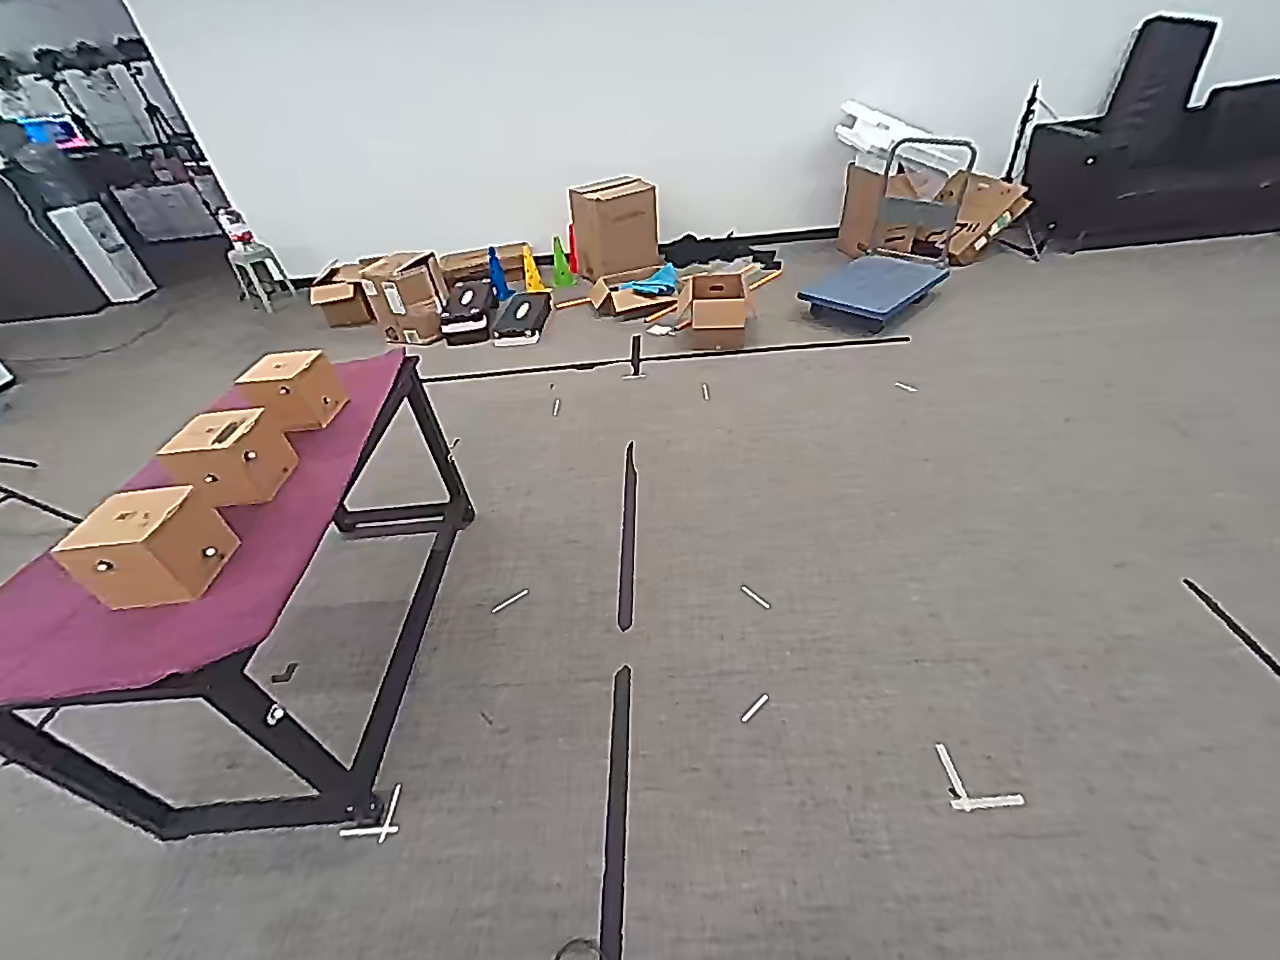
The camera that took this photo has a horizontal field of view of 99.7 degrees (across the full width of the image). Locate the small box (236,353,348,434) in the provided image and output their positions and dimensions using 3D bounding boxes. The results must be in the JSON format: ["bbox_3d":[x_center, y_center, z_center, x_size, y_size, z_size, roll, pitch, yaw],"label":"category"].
[{"bbox_3d":[-0.980,-0.243,1.540,0.179,0.176,0.168,-4,40,6],"label":"small box"}]

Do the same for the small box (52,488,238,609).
[{"bbox_3d":[-0.963,0.138,1.073,0.179,0.176,0.168,-6,38,1],"label":"small box"}]
